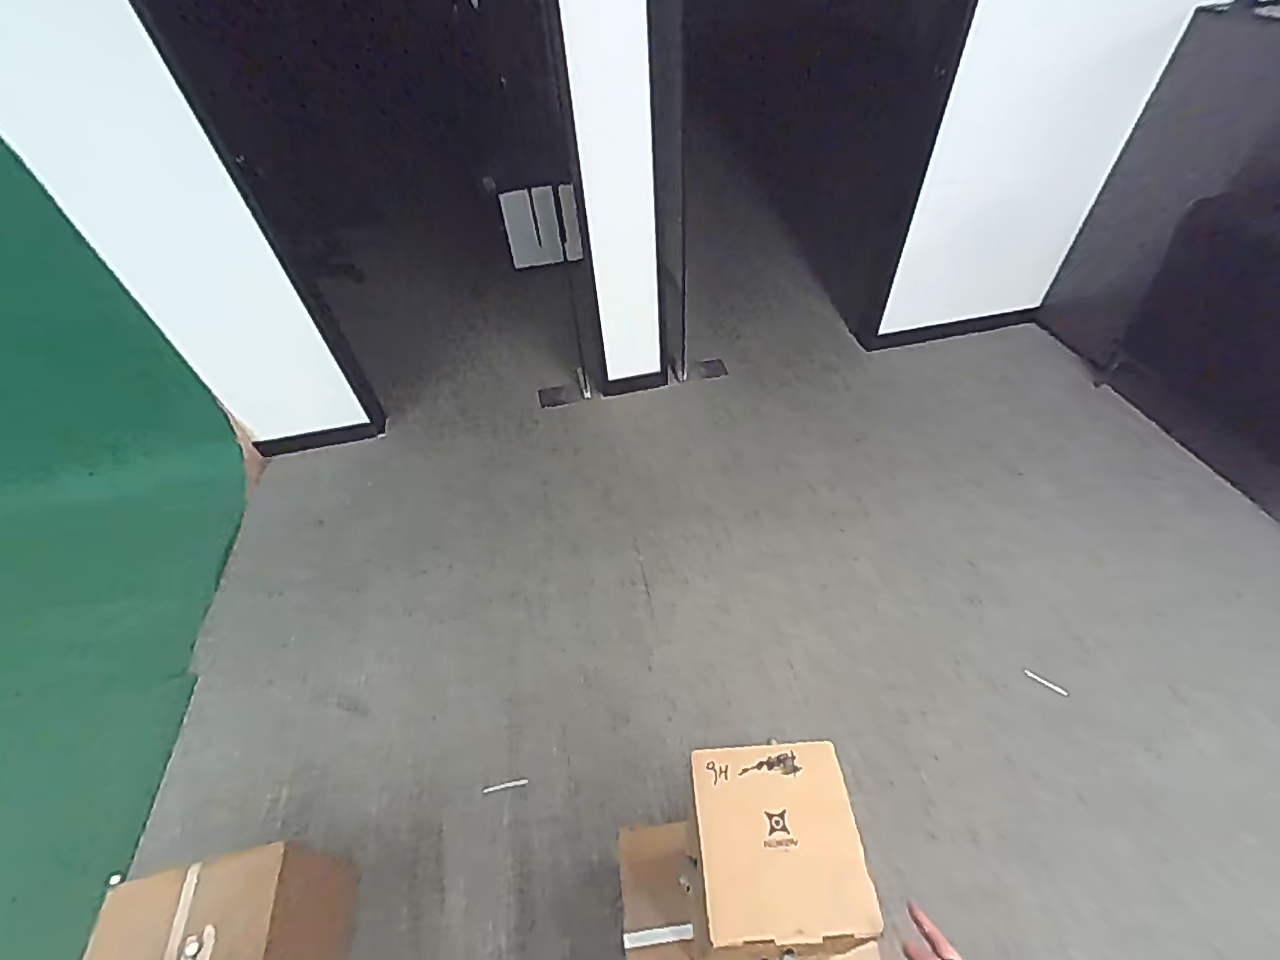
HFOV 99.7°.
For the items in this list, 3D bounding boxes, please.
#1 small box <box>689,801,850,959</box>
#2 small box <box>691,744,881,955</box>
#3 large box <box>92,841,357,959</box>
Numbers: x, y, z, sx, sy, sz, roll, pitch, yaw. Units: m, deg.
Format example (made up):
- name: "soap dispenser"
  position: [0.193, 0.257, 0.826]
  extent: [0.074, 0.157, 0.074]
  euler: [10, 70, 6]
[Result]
- name: "small box"
  position: [0.160, 0.542, 0.733]
  extent: [0.179, 0.176, 0.168]
  euler: [-4, 45, 2]
- name: "small box"
  position: [0.148, 0.425, 0.619]
  extent: [0.168, 0.176, 0.179]
  euler: [-4, 46, 1]
- name: "large box"
  position: [-0.759, 0.956, 0.985]
  extent: [0.320, 0.320, 0.408]
  euler: [-11, 47, -6]
